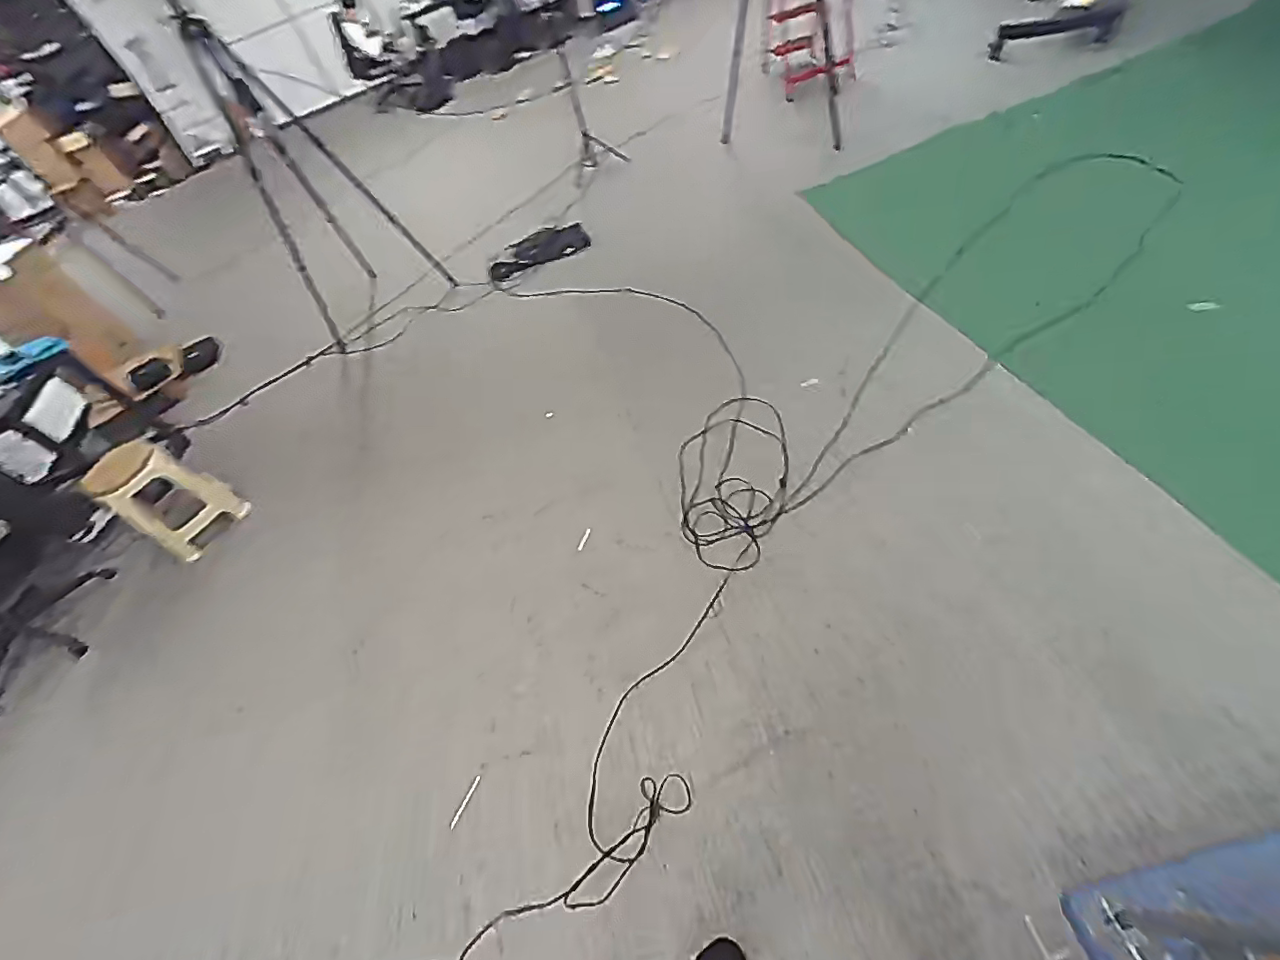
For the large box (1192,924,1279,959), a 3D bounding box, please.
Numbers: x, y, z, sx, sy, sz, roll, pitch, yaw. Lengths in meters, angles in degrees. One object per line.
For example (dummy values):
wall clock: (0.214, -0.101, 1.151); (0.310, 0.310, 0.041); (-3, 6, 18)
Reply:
large box: (1.120, 0.764, 0.708); (0.408, 0.320, 0.320); (-17, 50, 5)
